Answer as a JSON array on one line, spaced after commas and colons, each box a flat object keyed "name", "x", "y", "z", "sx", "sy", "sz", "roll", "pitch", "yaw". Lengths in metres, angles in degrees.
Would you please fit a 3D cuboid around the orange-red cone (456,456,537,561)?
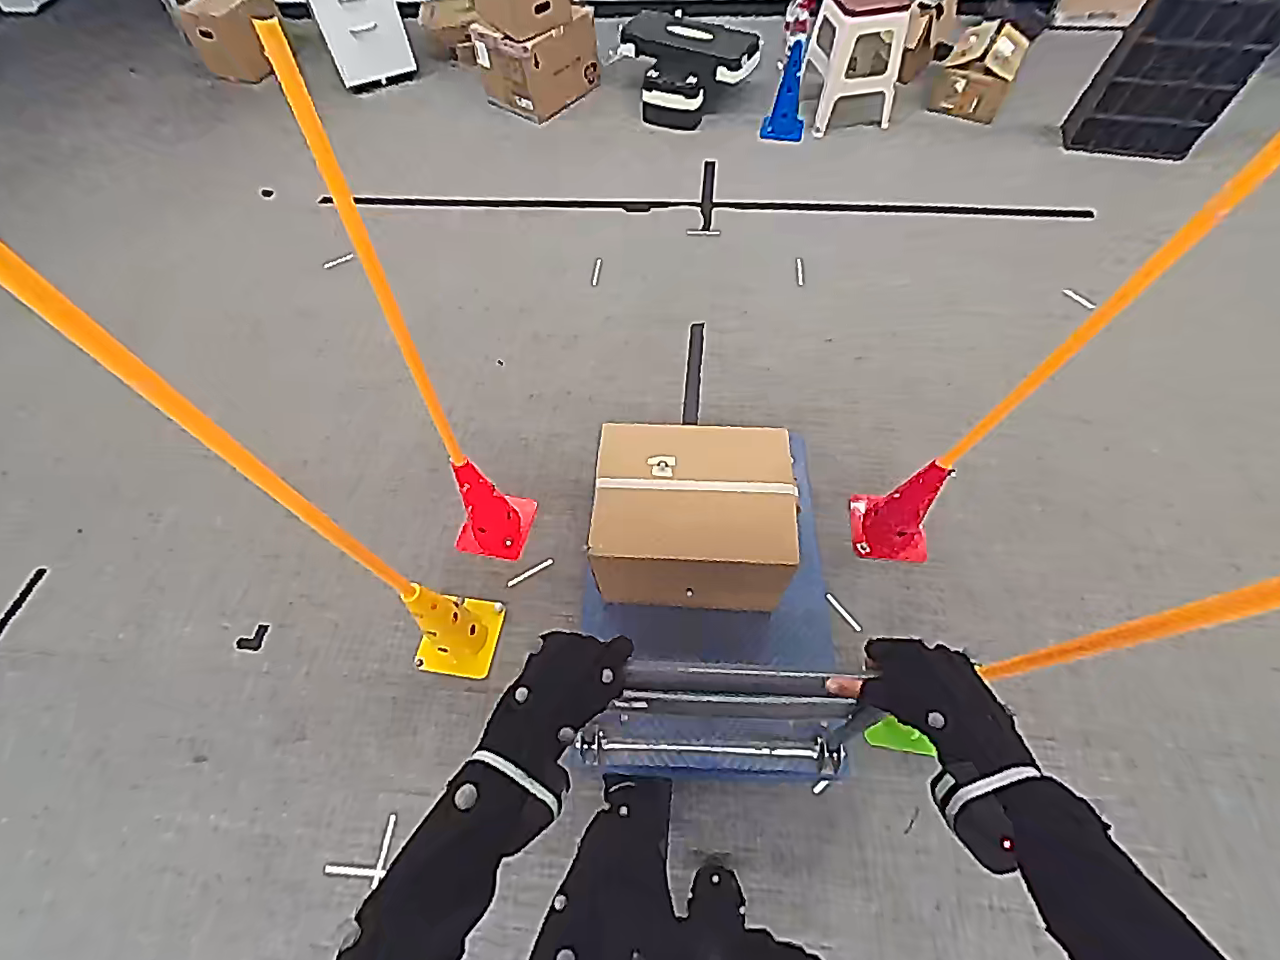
[{"name": "orange-red cone", "x": -0.425, "y": 0.047, "z": 1.458, "sx": 0.198, "sy": 0.360, "sz": 0.199, "roll": 10, "pitch": 59, "yaw": 8}]

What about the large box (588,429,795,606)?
[{"name": "large box", "x": 0.114, "y": 0.094, "z": 1.235, "sx": 0.408, "sy": 0.320, "sz": 0.320, "roll": 1, "pitch": 60, "yaw": 5}]

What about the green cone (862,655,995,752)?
[{"name": "green cone", "x": 0.642, "y": 0.453, "z": 1.166, "sx": 0.202, "sy": 0.368, "sz": 0.200, "roll": 7, "pitch": 60, "yaw": 6}]

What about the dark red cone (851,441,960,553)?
[{"name": "dark red cone", "x": 0.707, "y": 0.029, "z": 1.392, "sx": 0.201, "sy": 0.394, "sz": 0.202, "roll": 4, "pitch": 60, "yaw": 3}]
